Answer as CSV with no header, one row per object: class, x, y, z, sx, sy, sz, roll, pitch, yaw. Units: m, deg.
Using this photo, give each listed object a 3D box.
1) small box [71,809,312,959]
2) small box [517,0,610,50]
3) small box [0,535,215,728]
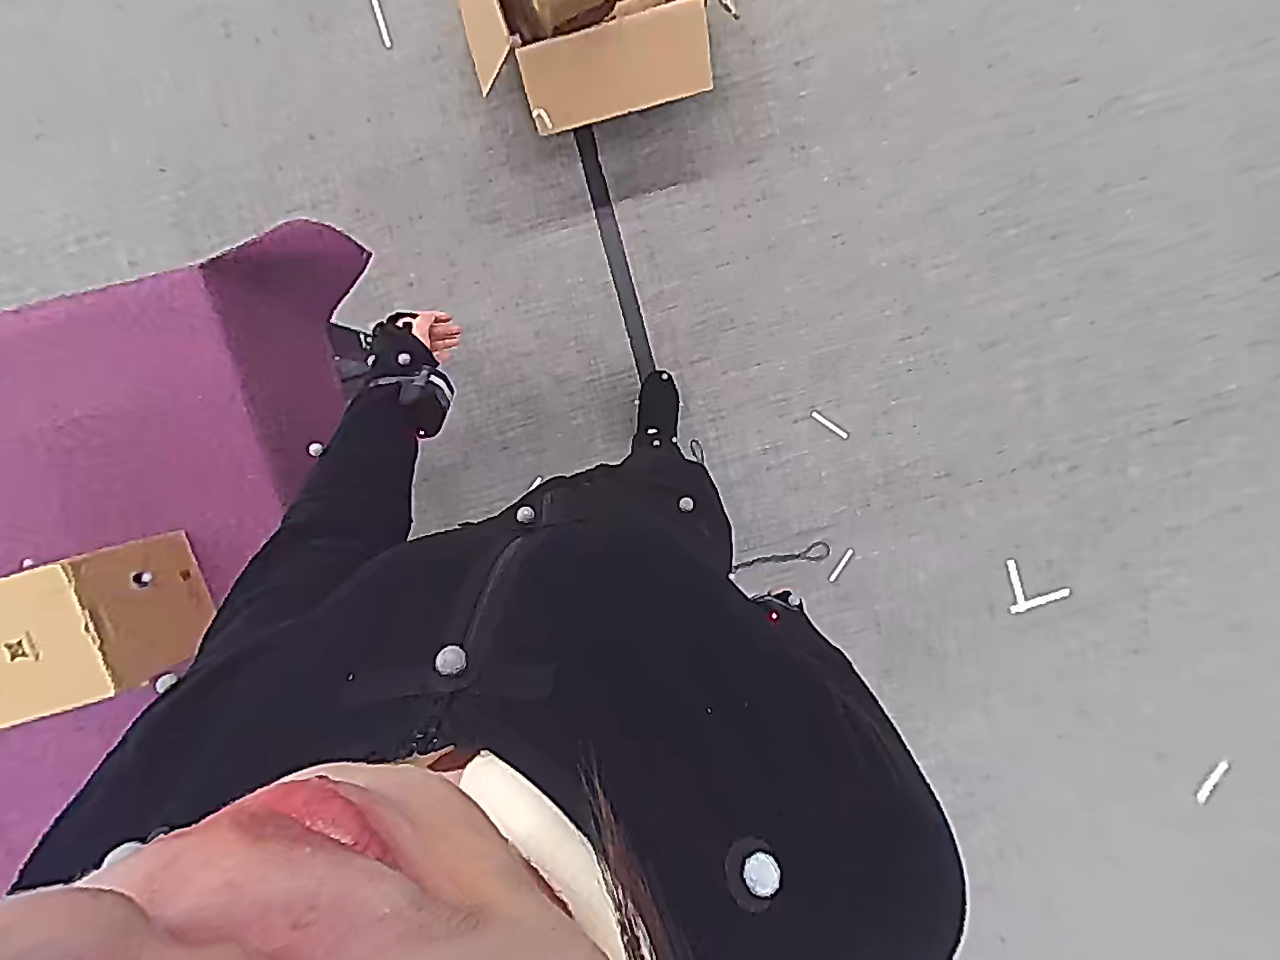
small box,-0.586,0.587,0.738,0.179,0.176,0.168,-13,96,2
small box,-0.169,-1.045,1.104,0.179,0.176,0.168,-38,99,1
small box,-0.695,0.181,0.691,0.179,0.176,0.168,-16,96,2
